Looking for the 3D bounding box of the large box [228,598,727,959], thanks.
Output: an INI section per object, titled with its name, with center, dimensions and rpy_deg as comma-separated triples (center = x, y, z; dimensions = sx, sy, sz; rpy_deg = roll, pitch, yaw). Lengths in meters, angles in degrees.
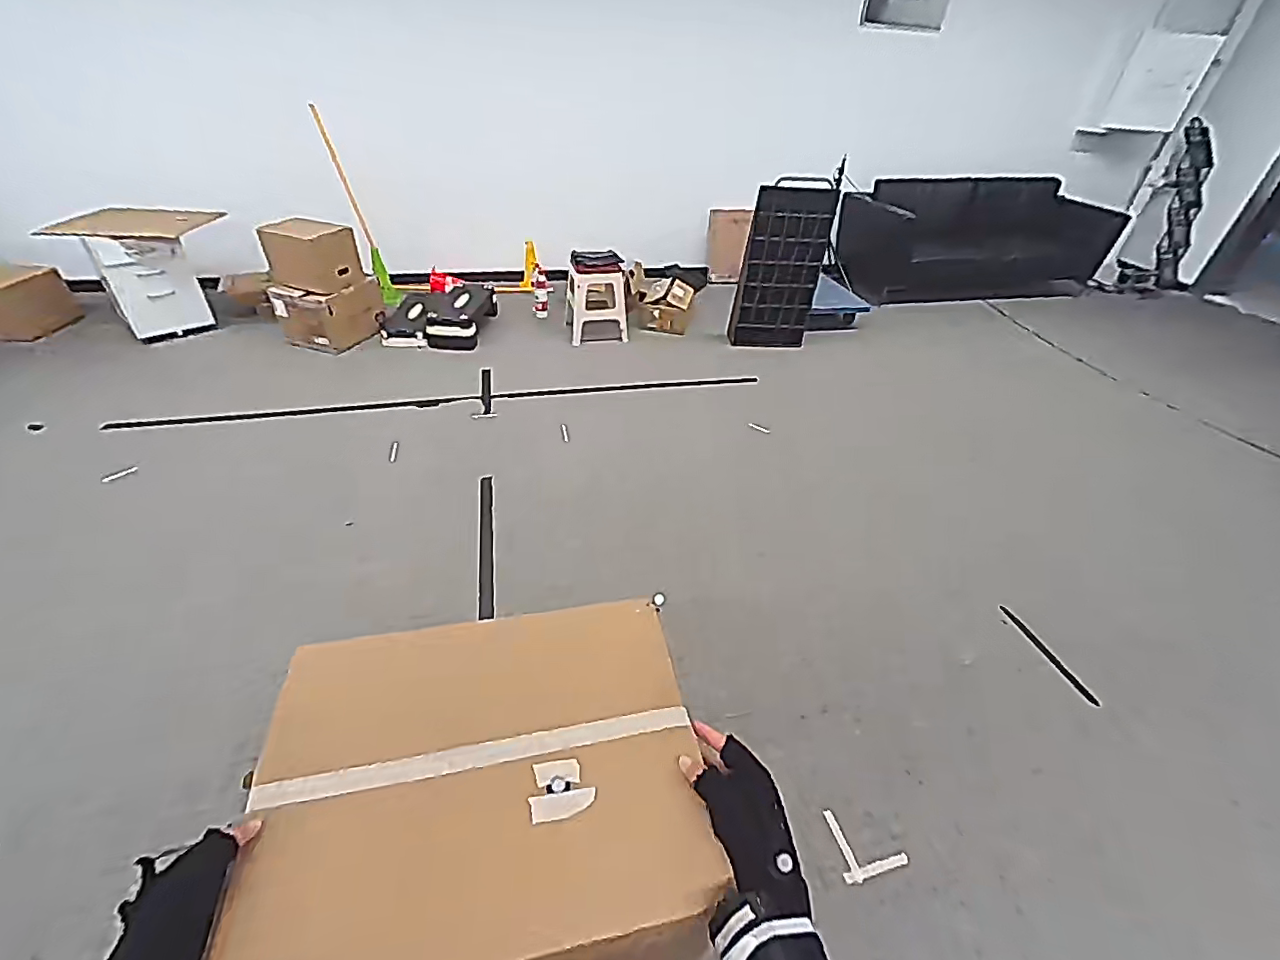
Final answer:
[large box]
center = -0.158, 0.380, 0.634
dimensions = 0.408, 0.320, 0.320
rpy_deg = -5, 42, -12
